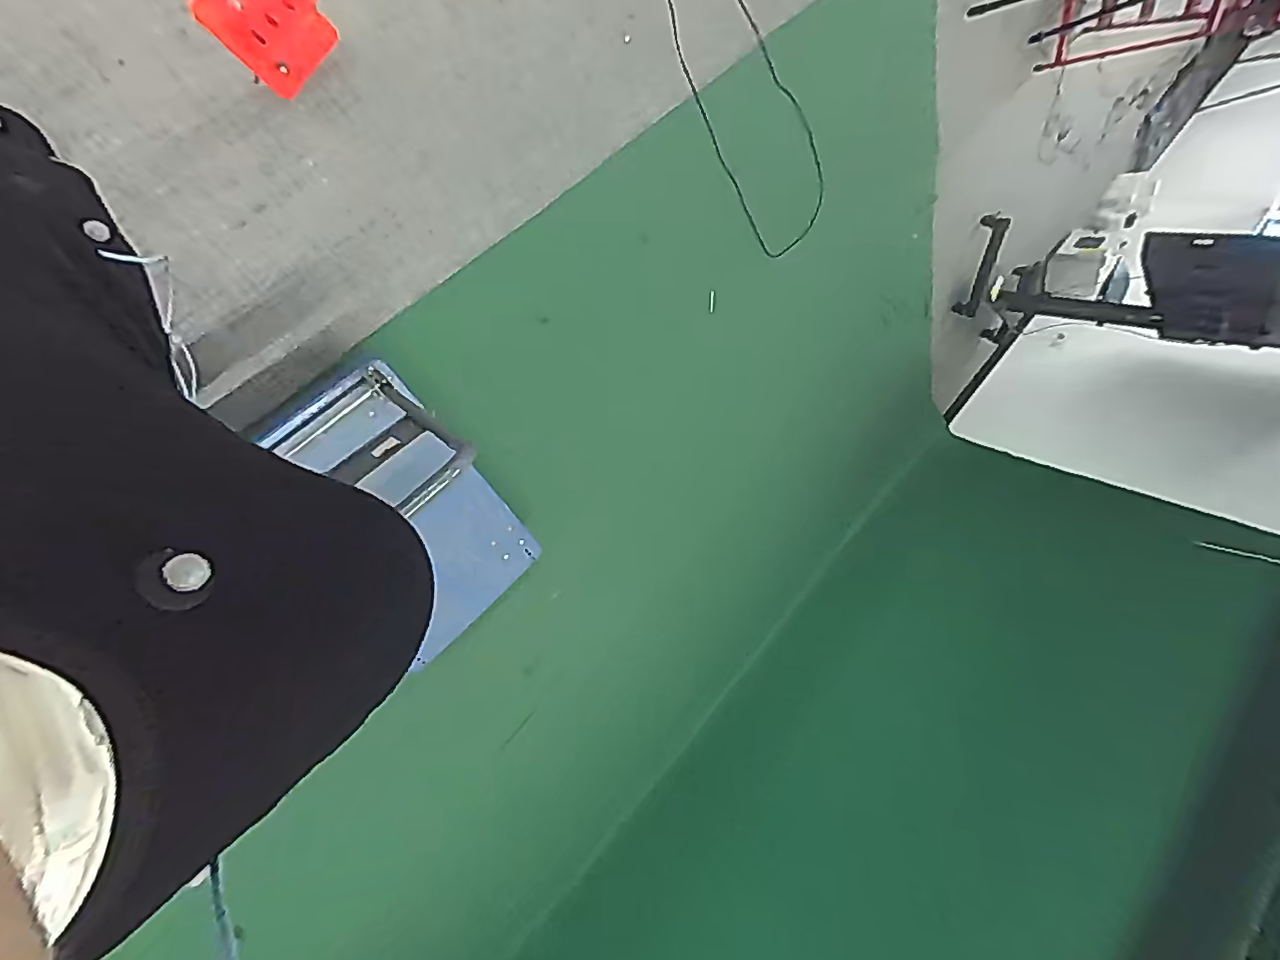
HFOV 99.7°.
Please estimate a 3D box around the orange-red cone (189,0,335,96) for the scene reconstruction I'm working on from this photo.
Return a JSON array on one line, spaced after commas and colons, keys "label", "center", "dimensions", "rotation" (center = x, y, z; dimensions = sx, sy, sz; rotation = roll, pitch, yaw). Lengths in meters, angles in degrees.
[{"label": "orange-red cone", "center": [-0.661, -0.887, 1.002], "dimensions": [0.199, 0.360, 0.198], "rotation": [-56, 138, -6]}]
